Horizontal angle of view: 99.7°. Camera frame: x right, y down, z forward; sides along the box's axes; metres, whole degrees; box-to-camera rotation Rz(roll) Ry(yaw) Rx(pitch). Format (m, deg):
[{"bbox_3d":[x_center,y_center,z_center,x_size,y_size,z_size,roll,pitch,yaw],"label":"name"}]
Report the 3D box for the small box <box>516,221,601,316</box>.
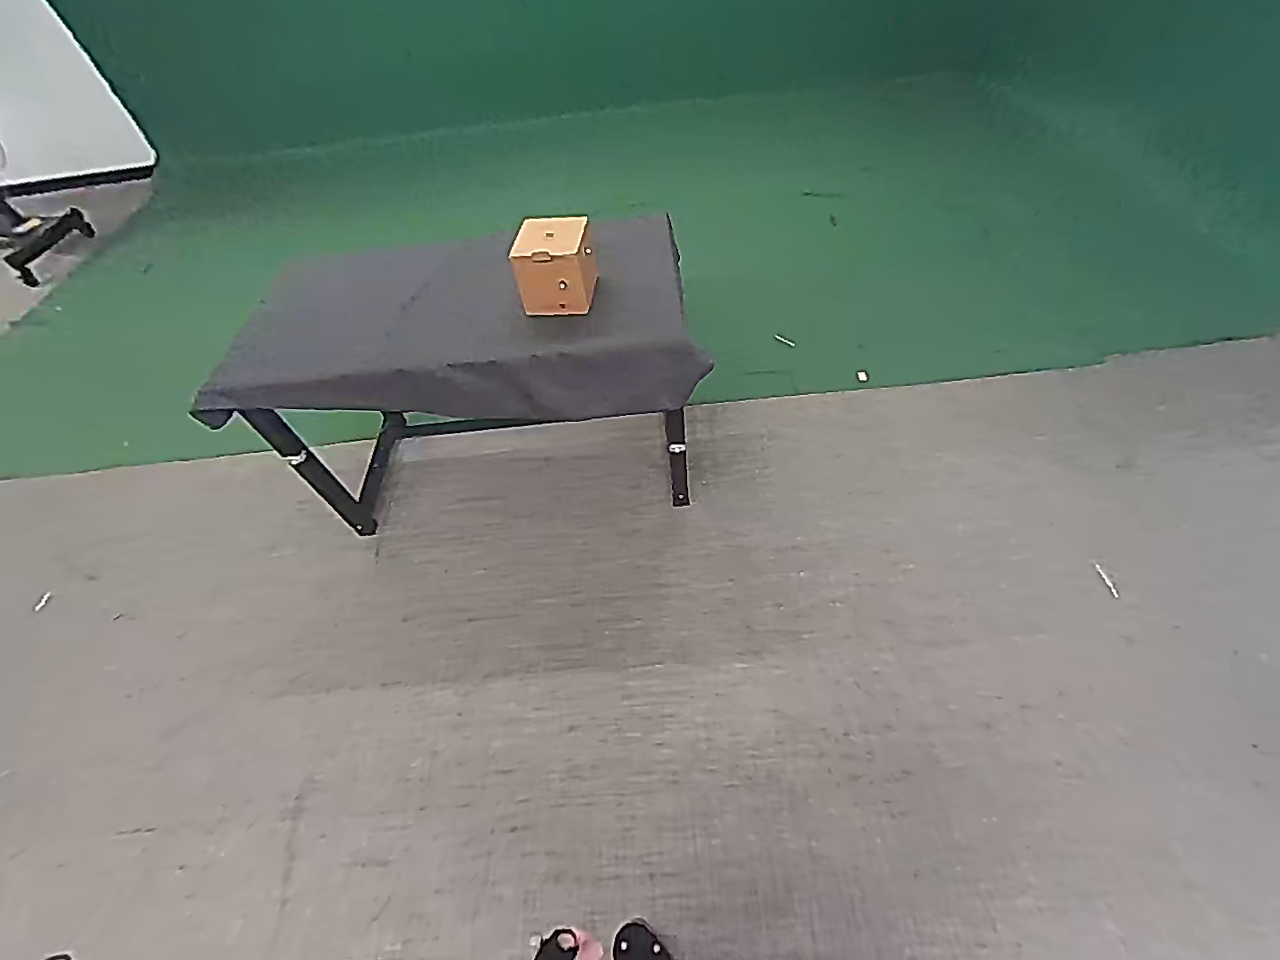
[{"bbox_3d":[-0.200,-0.539,1.389,0.168,0.176,0.179,3,51,7],"label":"small box"}]
